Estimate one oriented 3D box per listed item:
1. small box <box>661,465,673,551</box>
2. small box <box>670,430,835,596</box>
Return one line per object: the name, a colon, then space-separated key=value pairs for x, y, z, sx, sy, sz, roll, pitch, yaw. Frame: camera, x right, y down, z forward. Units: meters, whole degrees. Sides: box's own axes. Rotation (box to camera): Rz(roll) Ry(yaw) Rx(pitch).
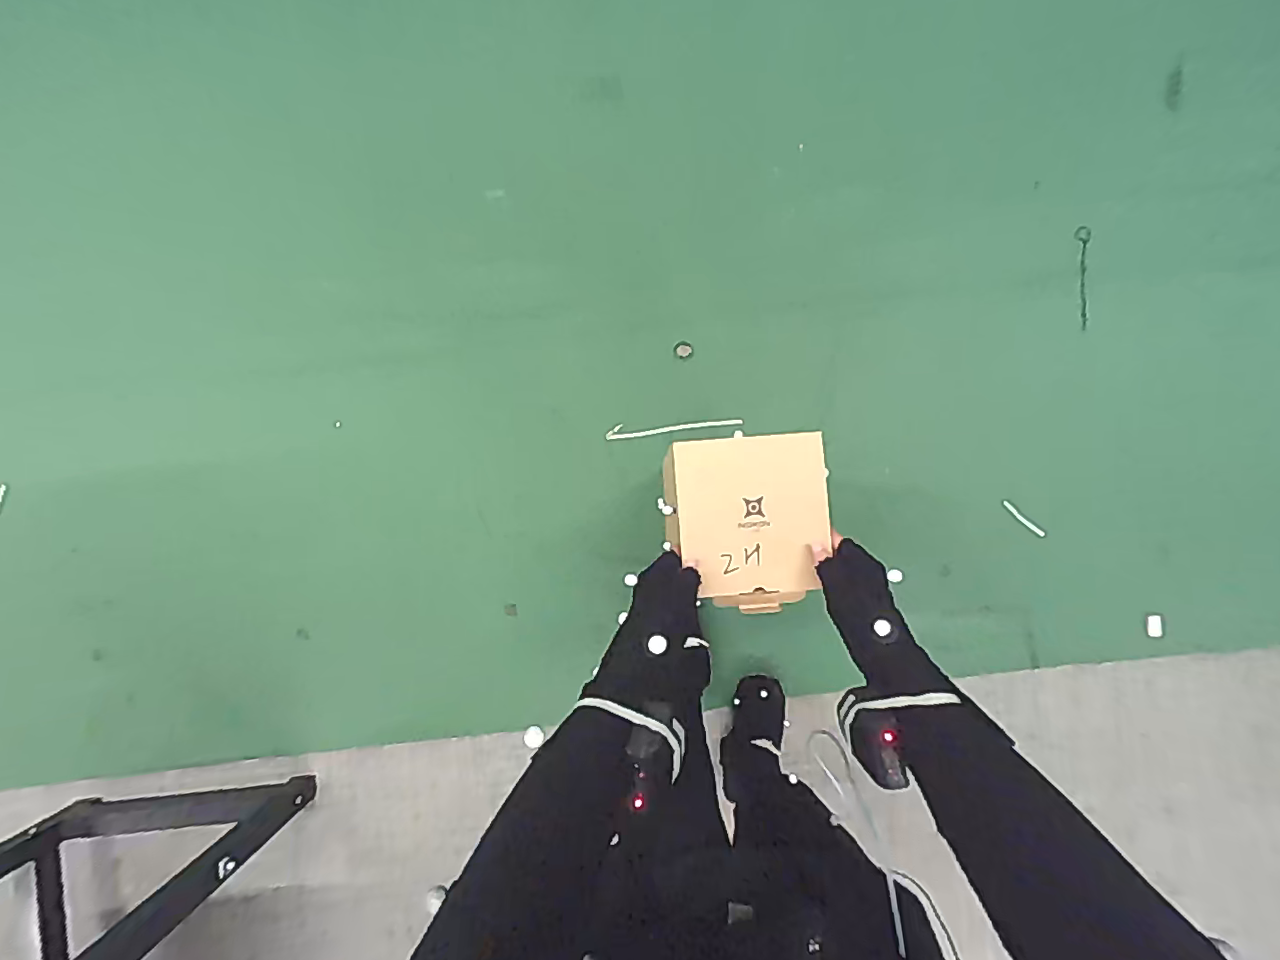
small box: x=0.133 y=0.049 z=1.163 sx=0.168 sy=0.176 sz=0.179 roll=-6 pitch=91 yaw=1
small box: x=0.127 y=0.038 z=0.671 sx=0.168 sy=0.176 sz=0.179 roll=-4 pitch=89 yaw=1
